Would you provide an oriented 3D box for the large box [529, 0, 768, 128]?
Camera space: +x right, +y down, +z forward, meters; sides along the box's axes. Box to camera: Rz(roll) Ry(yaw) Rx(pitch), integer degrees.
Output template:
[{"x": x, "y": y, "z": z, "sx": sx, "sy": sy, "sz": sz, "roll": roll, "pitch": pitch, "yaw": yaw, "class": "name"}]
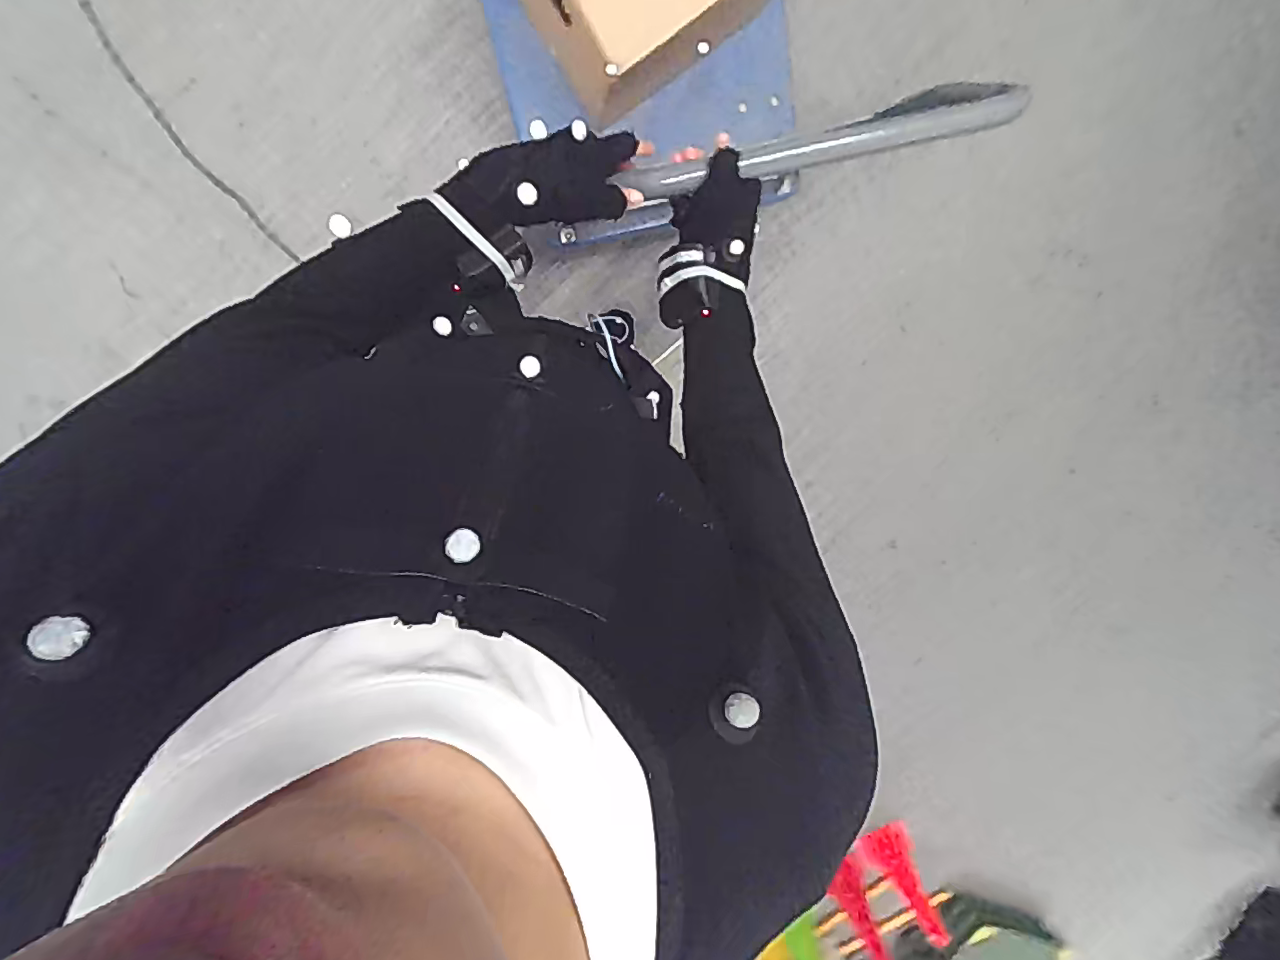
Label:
[{"x": 0.030, "y": -0.891, "z": 0.899, "sx": 0.408, "sy": 0.320, "sz": 0.320, "roll": -35, "pitch": 110, "yaw": 5, "class": "large box"}]
